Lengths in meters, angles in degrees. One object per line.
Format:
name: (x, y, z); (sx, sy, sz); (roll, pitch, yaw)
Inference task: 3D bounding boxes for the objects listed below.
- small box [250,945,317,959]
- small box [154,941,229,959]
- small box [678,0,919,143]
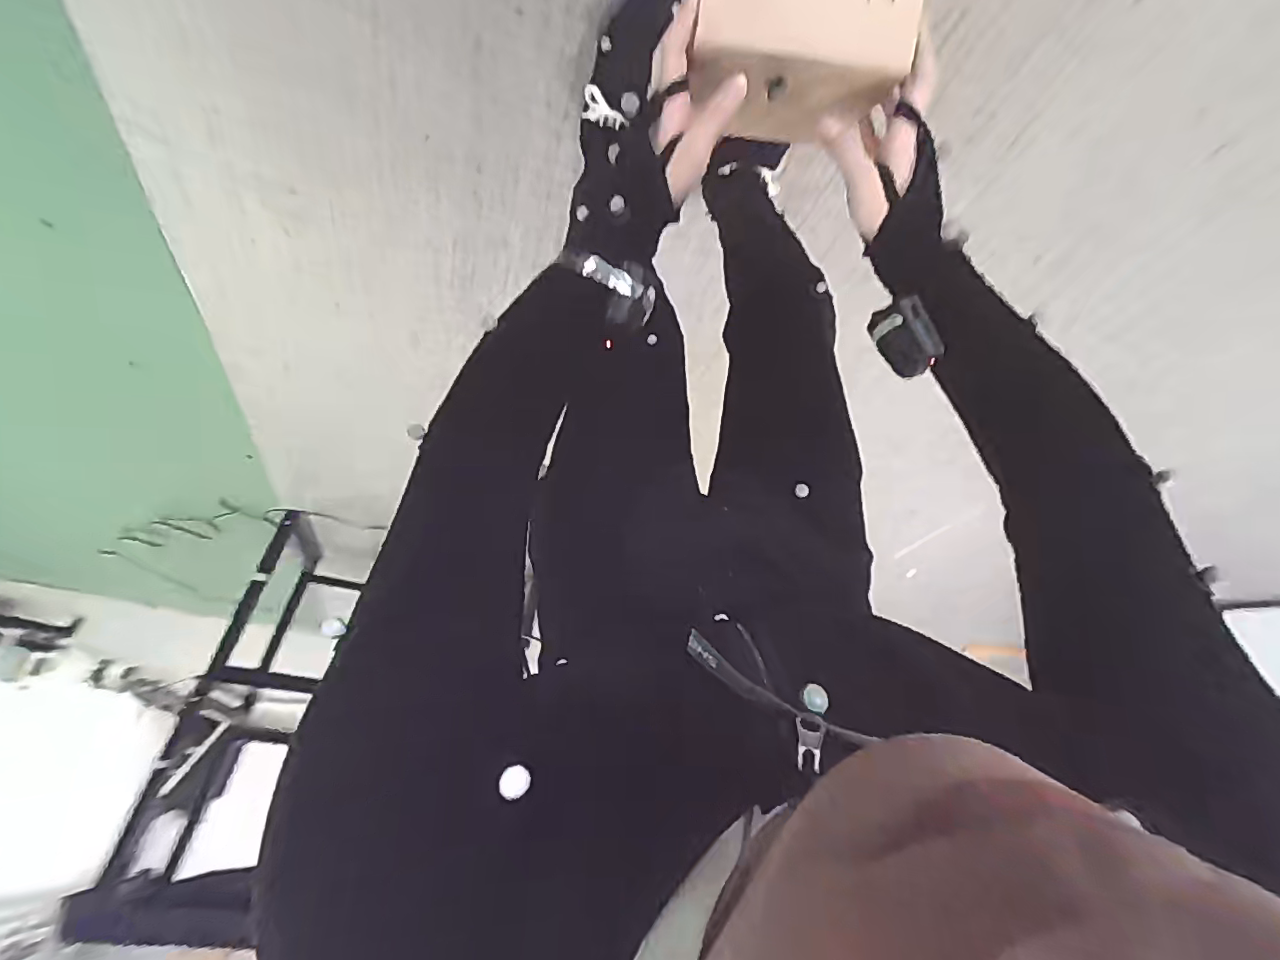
small box: (-1.161, 1.599, 1.715); (0.179, 0.176, 0.168); (14, 145, -12)
small box: (-1.408, 1.536, 1.659); (0.168, 0.176, 0.179); (16, 143, -14)
small box: (0.132, -0.427, 0.482); (0.179, 0.176, 0.168); (6, 103, -2)
